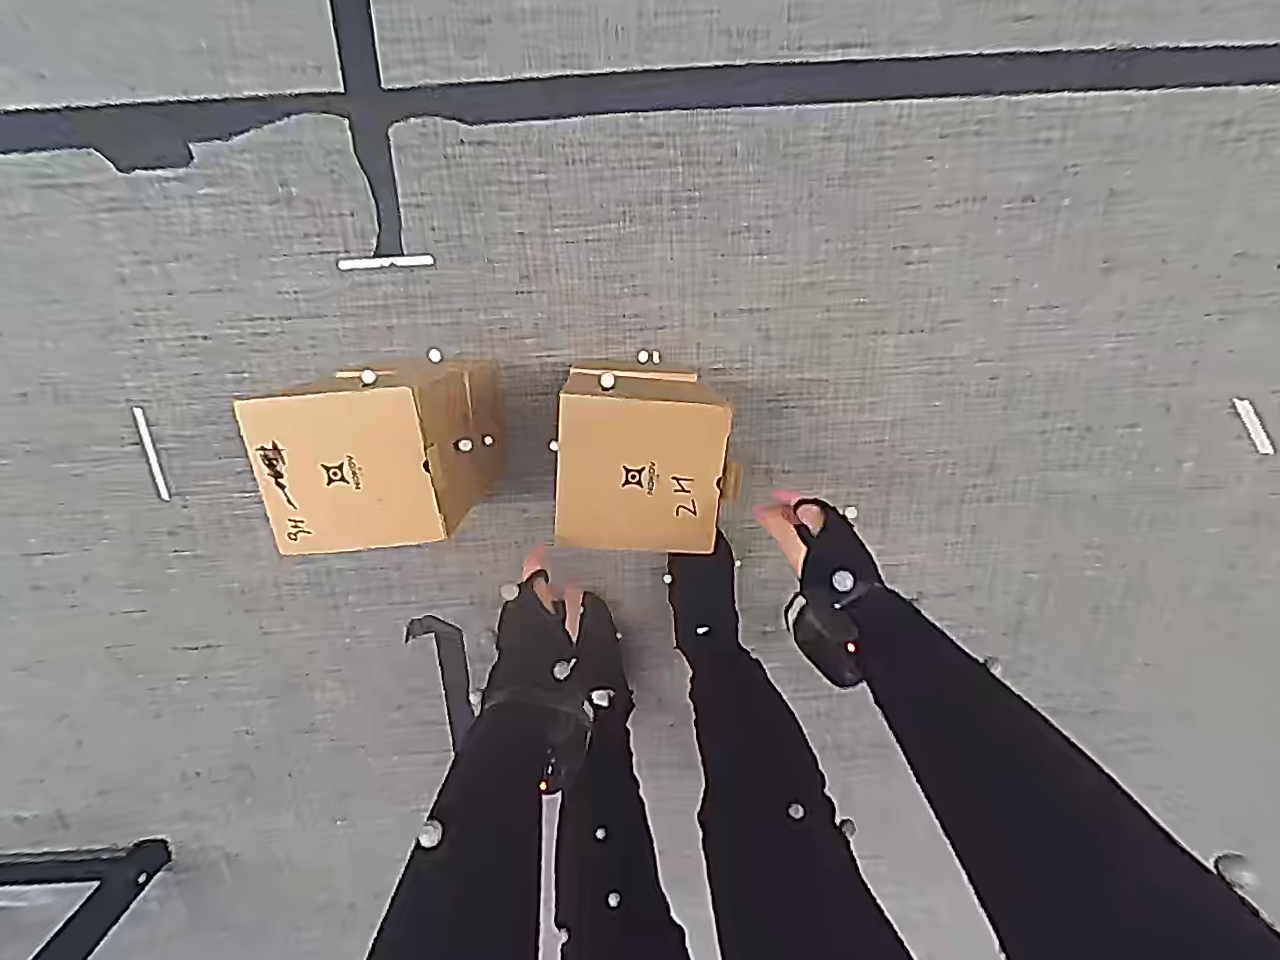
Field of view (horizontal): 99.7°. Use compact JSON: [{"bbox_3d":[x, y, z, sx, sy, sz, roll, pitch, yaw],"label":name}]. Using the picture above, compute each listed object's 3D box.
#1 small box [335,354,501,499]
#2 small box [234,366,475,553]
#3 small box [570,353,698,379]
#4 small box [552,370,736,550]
[{"bbox_3d":[-0.298,-0.081,0.767,0.168,0.176,0.179,0,107,-3],"label":"small box"},{"bbox_3d":[-0.295,-0.034,0.609,0.179,0.176,0.168,-5,107,-2],"label":"small box"},{"bbox_3d":[-0.016,-0.084,0.783,0.168,0.176,0.179,2,107,-4],"label":"small box"},{"bbox_3d":[-0.003,-0.032,0.627,0.179,0.176,0.168,4,108,-5],"label":"small box"}]
